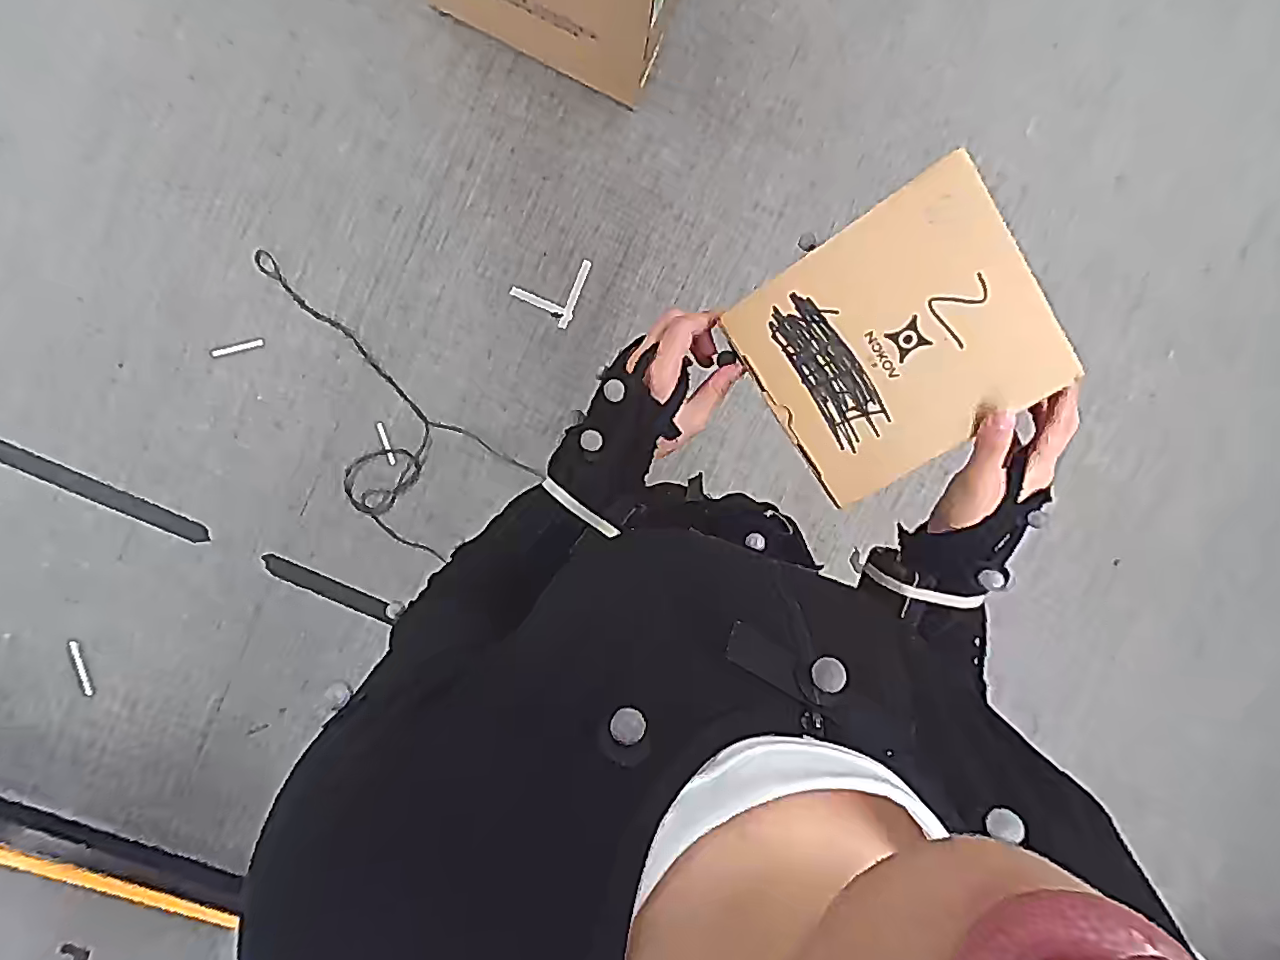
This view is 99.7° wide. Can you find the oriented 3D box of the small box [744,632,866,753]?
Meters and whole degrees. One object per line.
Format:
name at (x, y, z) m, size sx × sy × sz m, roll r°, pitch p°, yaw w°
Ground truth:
small box at (0.356, 0.461, 1.199) m, size 0.179 × 0.176 × 0.168 m, roll 23°, pitch 92°, yaw -6°
